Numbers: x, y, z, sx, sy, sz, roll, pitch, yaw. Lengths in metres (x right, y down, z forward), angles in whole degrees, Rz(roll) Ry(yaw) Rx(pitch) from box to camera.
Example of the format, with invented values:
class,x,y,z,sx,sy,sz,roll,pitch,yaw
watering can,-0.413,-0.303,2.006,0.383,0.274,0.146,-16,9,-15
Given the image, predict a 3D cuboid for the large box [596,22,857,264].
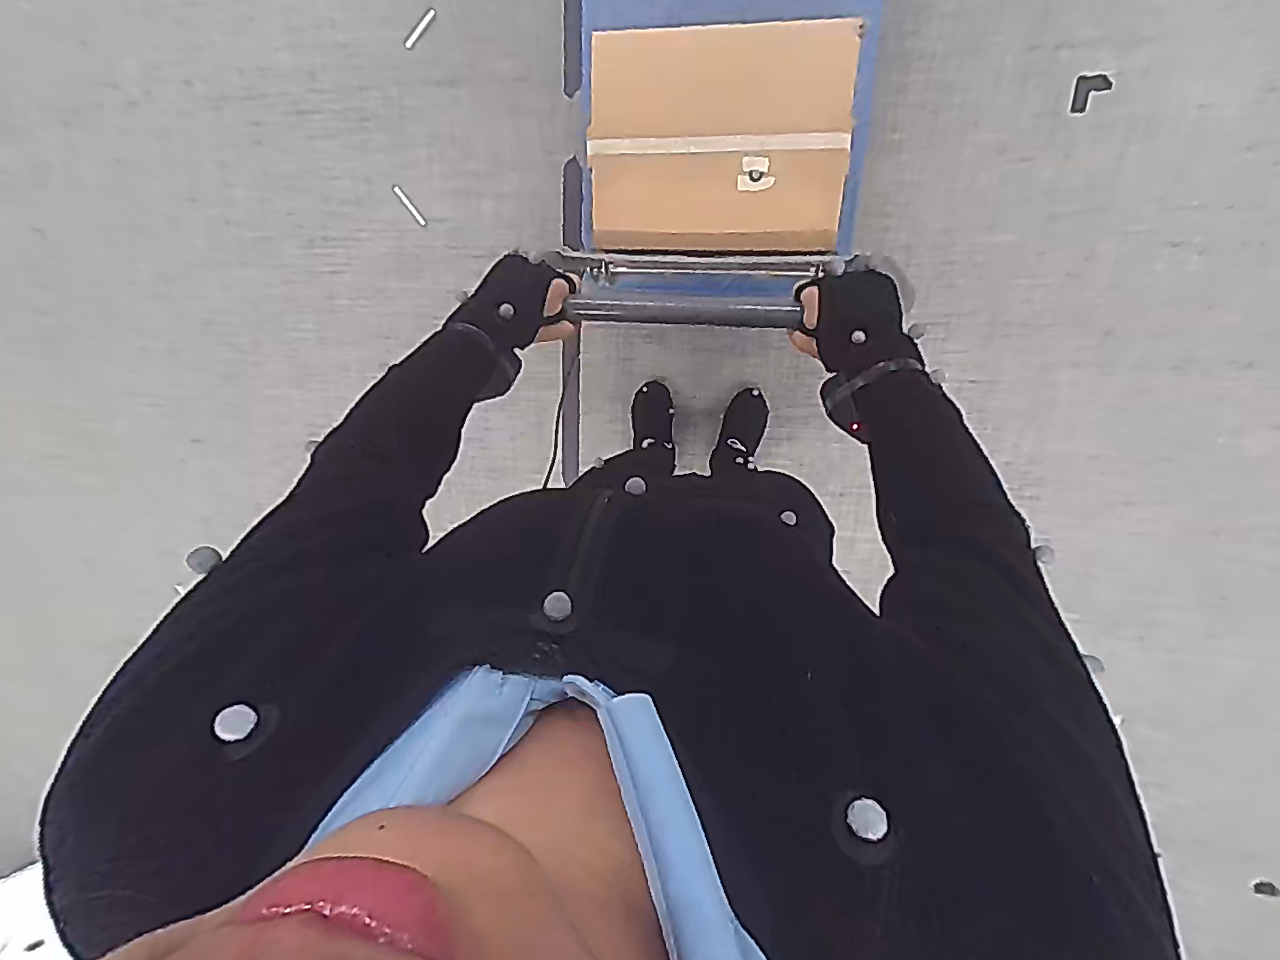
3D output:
class,x,y,z,sx,sy,sz,roll,pitch,yaw
large box,0.146,-0.584,1.011,0.408,0.320,0.320,4,109,8
